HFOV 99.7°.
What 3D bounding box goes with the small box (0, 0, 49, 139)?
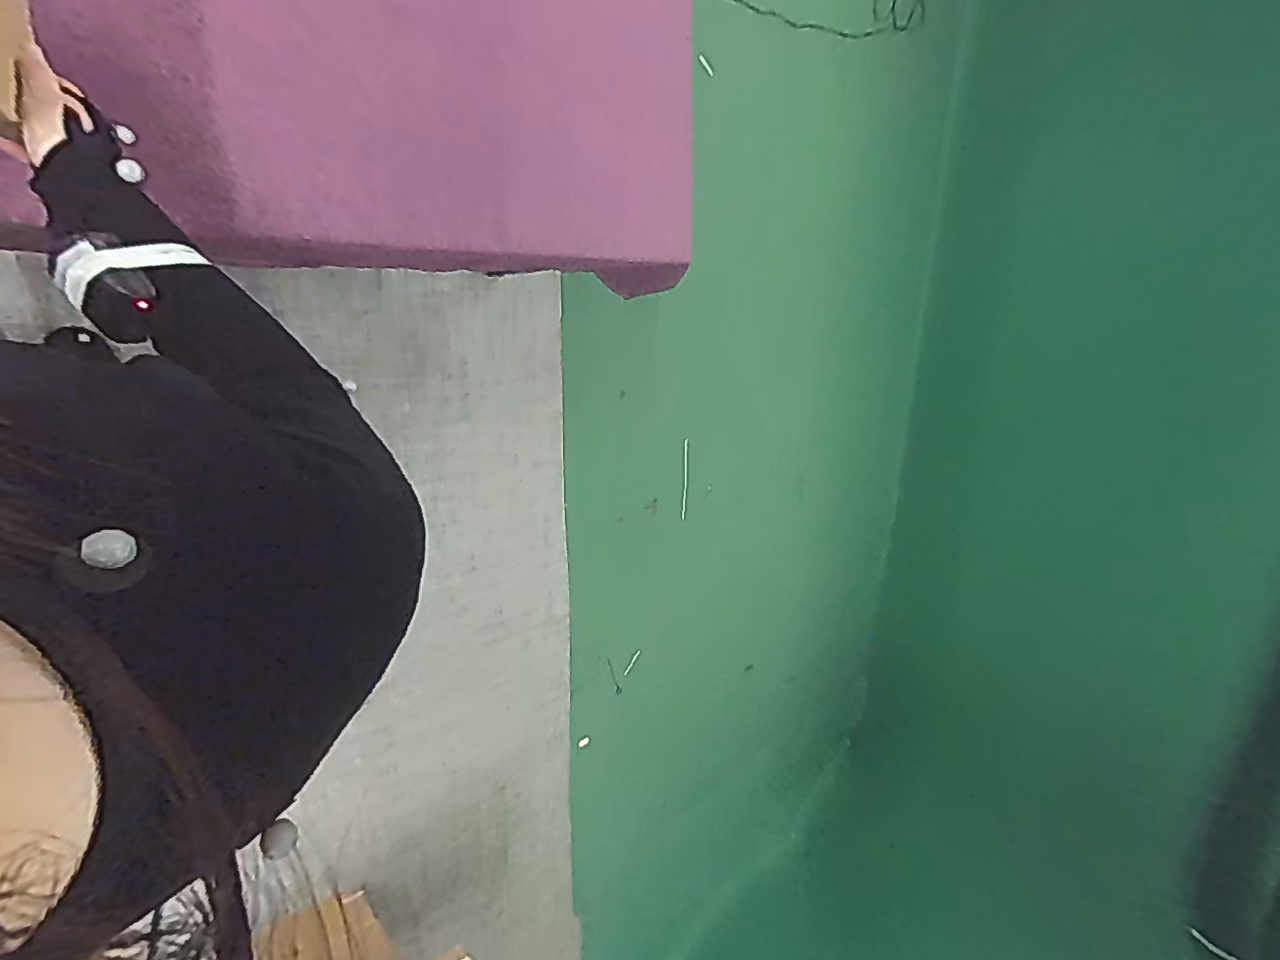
[{"bbox_3d":[-0.490,-0.323,0.310,0.168,0.176,0.179,-5,110,-35],"label":"small box"}]
